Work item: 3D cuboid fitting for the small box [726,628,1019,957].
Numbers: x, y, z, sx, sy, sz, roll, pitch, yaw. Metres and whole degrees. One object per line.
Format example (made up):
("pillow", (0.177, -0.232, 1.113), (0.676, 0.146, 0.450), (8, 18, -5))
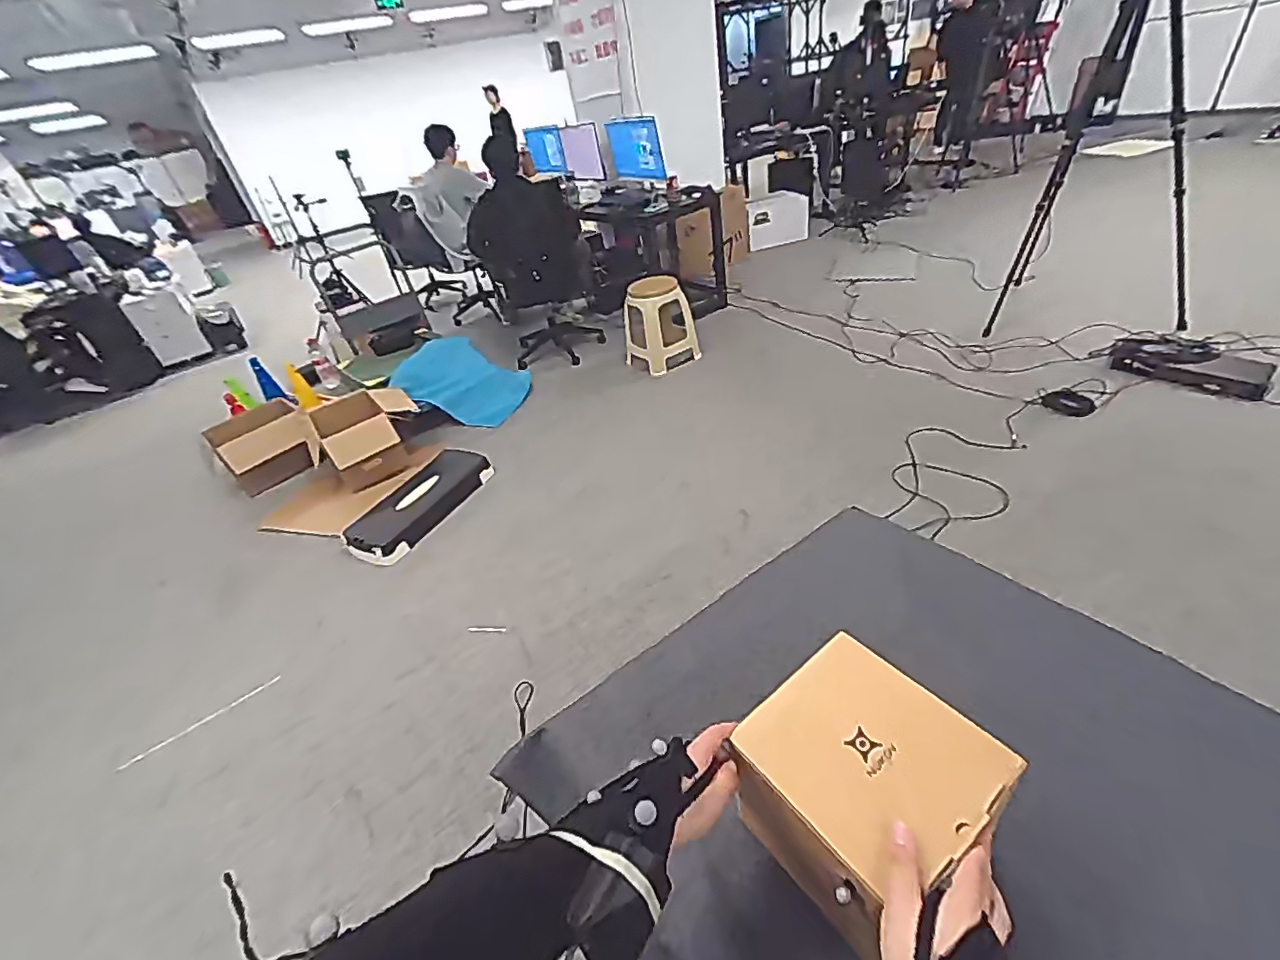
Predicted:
("small box", (0.202, 0.284, 0.505), (0.168, 0.176, 0.179), (-31, 41, -24))
